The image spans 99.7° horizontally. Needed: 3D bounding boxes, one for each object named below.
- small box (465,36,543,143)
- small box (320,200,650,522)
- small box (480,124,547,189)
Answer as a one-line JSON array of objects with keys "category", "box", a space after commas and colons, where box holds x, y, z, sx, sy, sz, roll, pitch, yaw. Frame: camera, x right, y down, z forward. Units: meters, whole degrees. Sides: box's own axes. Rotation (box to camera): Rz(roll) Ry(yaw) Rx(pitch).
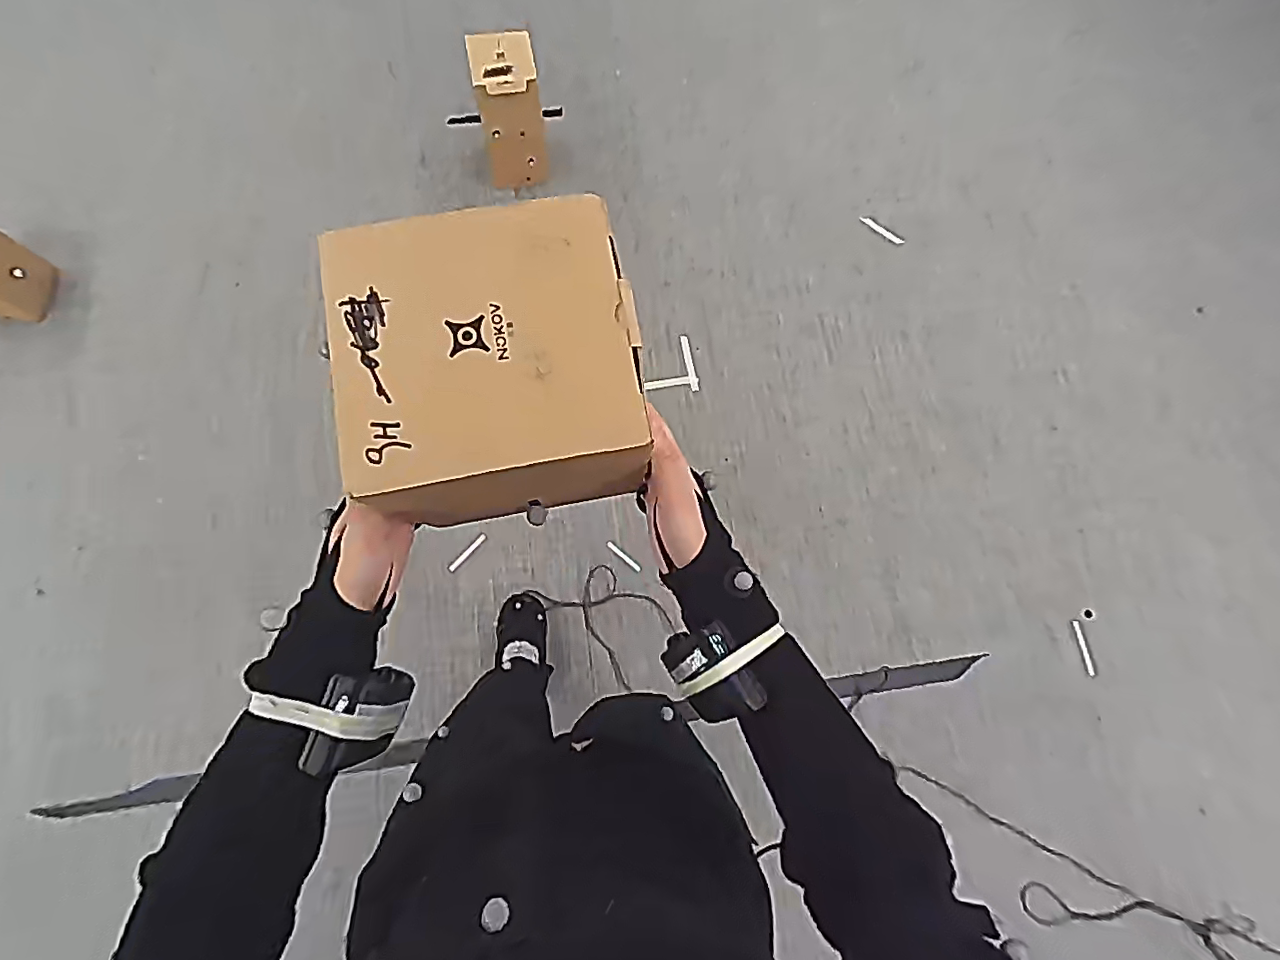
[{"category": "small box", "box": [-0.363, -1.046, 1.464, 0.168, 0.176, 0.179, -11, 75, -7]}, {"category": "small box", "box": [-0.100, -0.070, 0.397, 0.179, 0.176, 0.168, -10, 79, -6]}, {"category": "small box", "box": [-0.379, -1.002, 1.623, 0.168, 0.176, 0.179, -12, 75, -8]}]
